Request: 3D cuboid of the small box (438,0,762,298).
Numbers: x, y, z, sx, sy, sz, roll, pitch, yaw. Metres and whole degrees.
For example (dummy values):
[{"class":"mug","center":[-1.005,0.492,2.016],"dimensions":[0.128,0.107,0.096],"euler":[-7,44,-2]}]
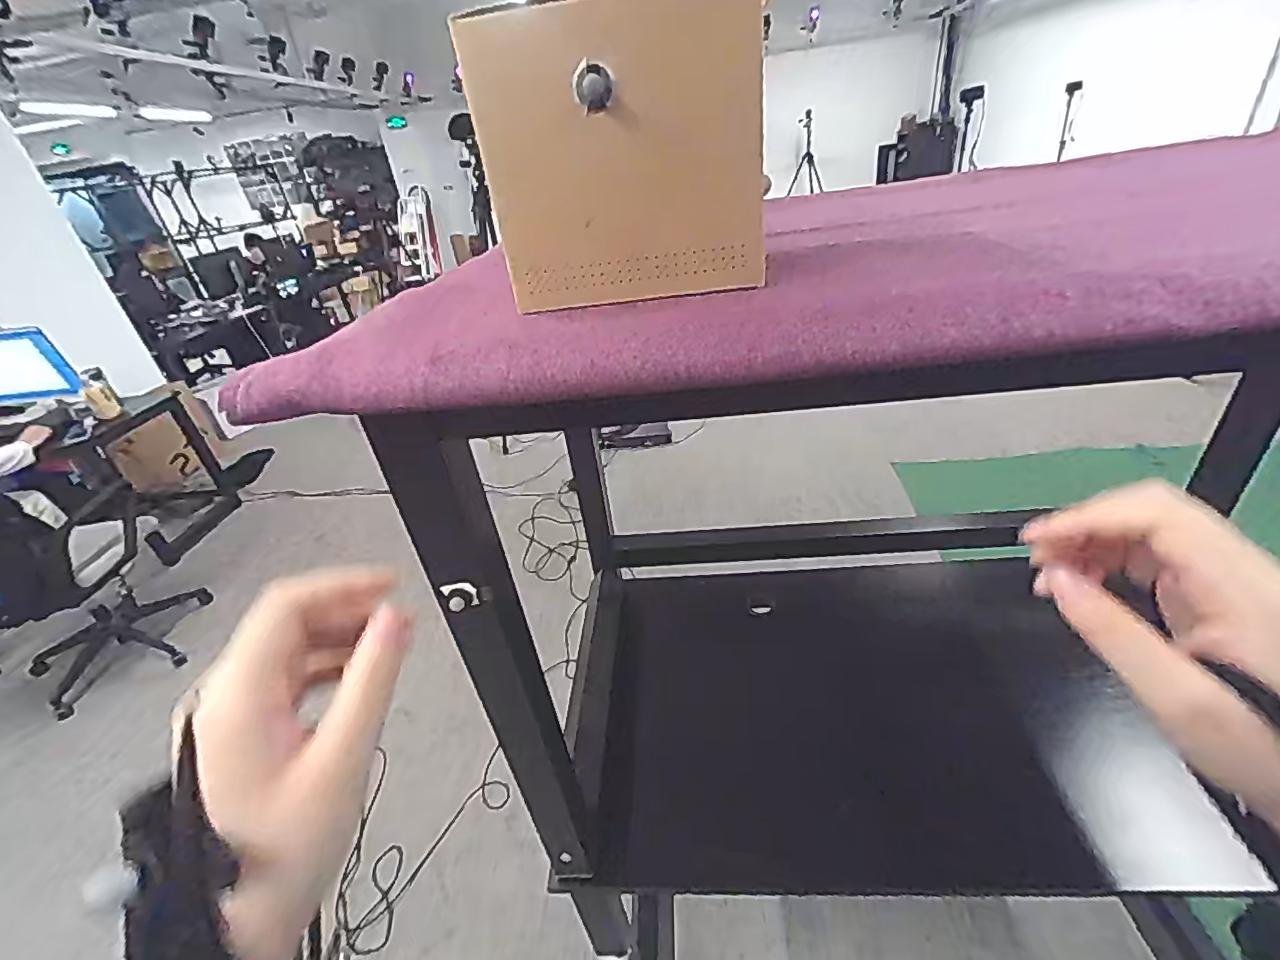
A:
[{"class":"small box","center":[-0.011,-0.239,0.391],"dimensions":[0.179,0.176,0.168],"euler":[-4,33,6]}]
